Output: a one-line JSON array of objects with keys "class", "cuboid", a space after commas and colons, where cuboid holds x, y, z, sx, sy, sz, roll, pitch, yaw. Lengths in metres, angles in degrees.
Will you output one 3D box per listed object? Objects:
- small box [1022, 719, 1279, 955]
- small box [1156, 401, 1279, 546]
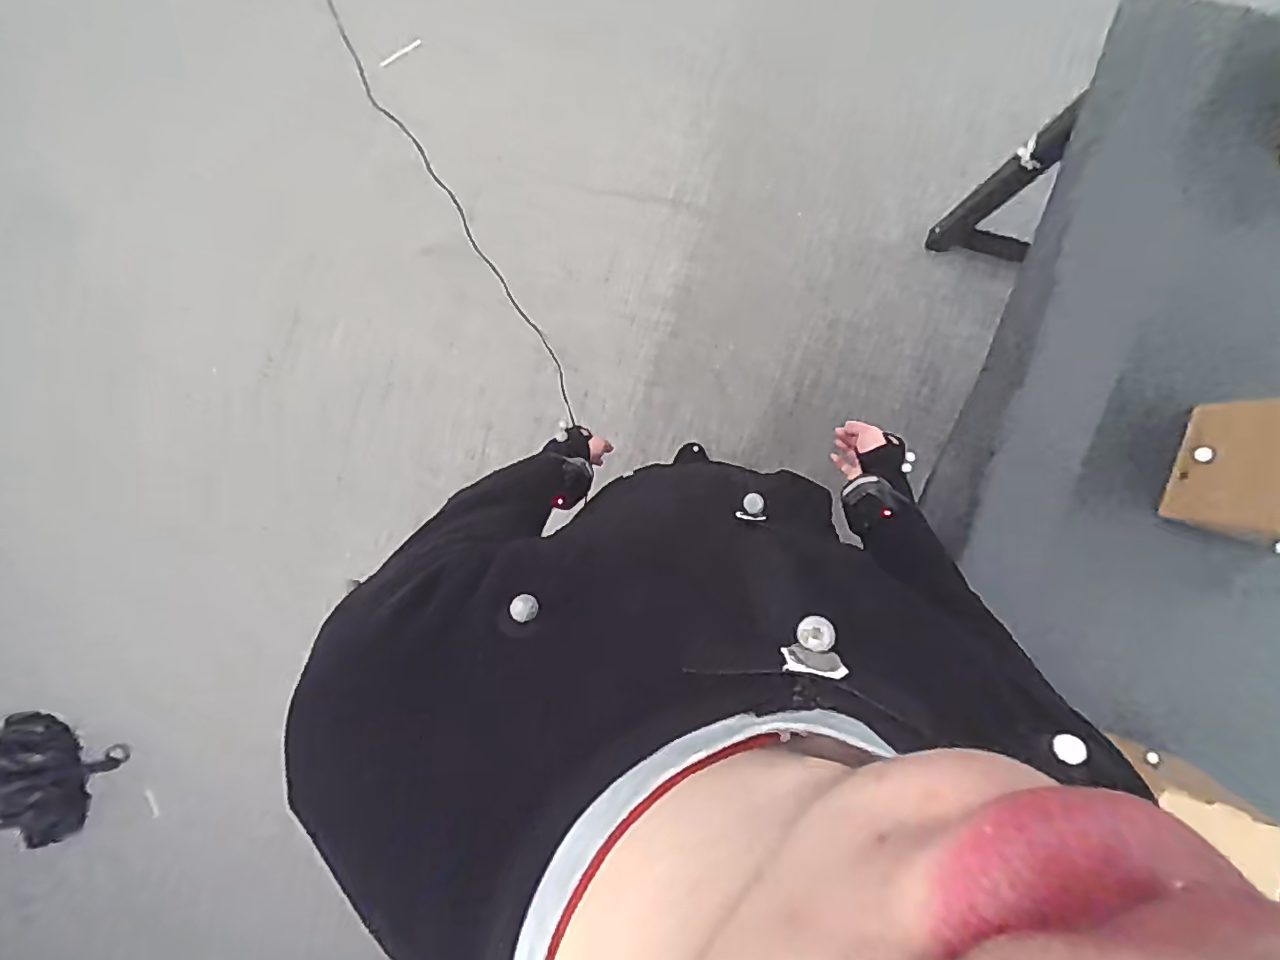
[{"class": "small box", "cuboid": [0.665, 0.459, 0.727, 0.168, 0.176, 0.179, 19, 96, 4]}, {"class": "small box", "cuboid": [0.833, -0.002, 0.683, 0.179, 0.176, 0.168, 17, 95, 4]}]
